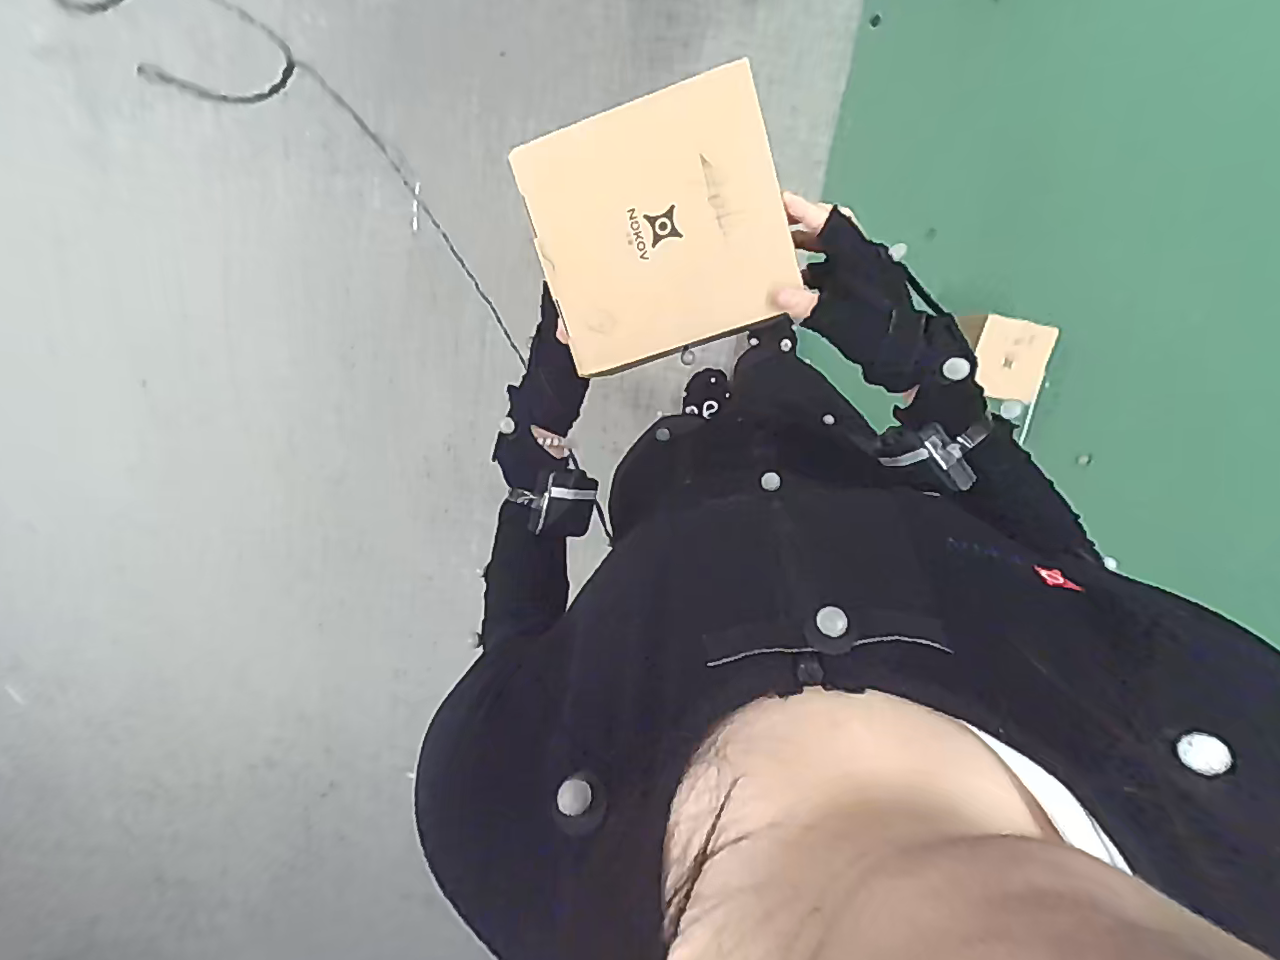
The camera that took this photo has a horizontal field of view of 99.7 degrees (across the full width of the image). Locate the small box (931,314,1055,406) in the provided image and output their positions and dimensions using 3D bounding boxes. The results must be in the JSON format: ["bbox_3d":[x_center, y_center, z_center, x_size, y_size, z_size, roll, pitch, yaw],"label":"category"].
[{"bbox_3d":[0.838,-0.290,1.307,0.168,0.176,0.179,13,104,-1],"label":"small box"}]

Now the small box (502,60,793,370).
[{"bbox_3d":[0.013,-0.196,0.462,0.179,0.176,0.168,-16,100,8],"label":"small box"}]
